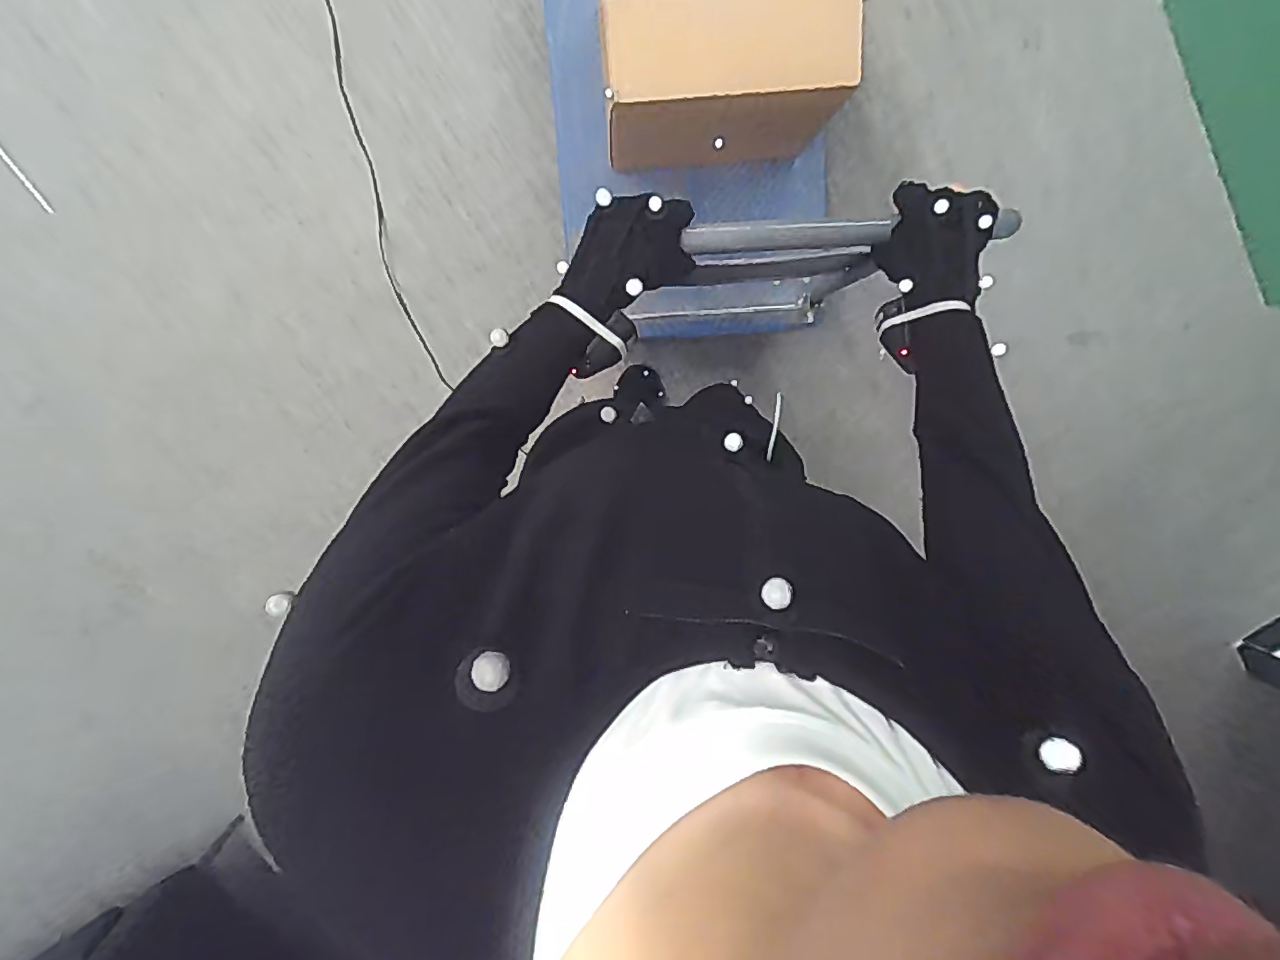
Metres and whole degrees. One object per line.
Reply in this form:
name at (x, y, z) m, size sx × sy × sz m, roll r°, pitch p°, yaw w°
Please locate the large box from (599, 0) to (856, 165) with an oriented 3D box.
large box at (0.136, -0.806, 0.986) m, size 0.408 × 0.320 × 0.320 m, roll -5°, pitch 102°, yaw -1°
